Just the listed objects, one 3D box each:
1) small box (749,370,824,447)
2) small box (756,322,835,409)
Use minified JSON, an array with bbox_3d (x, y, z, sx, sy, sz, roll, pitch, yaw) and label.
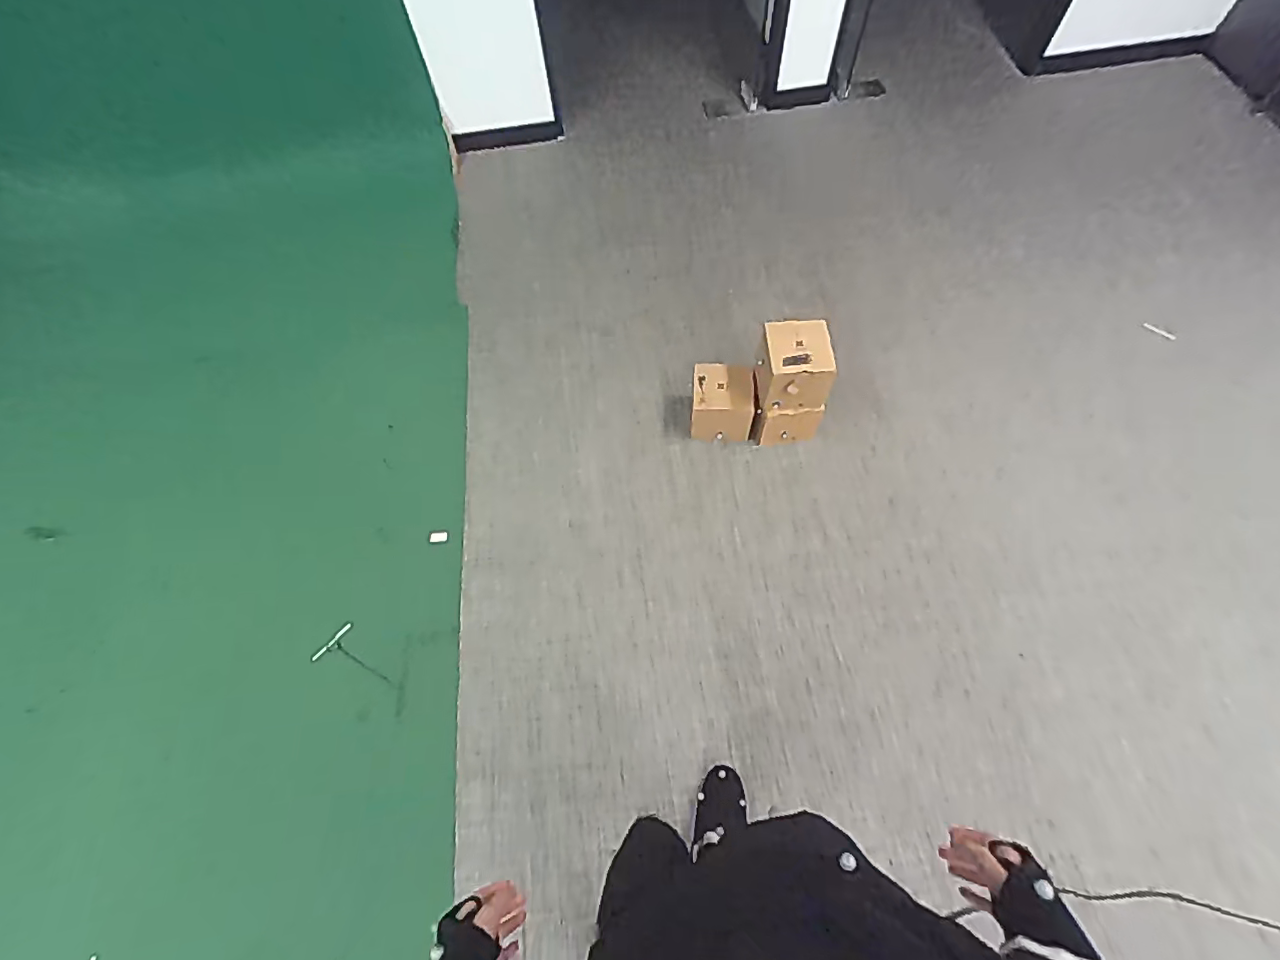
[{"bbox_3d":[0.431,-0.221,1.622,0.168,0.176,0.179,-7,64,-1],"label":"small box"},{"bbox_3d":[0.419,-0.304,1.481,0.168,0.176,0.179,-2,63,2],"label":"small box"}]
